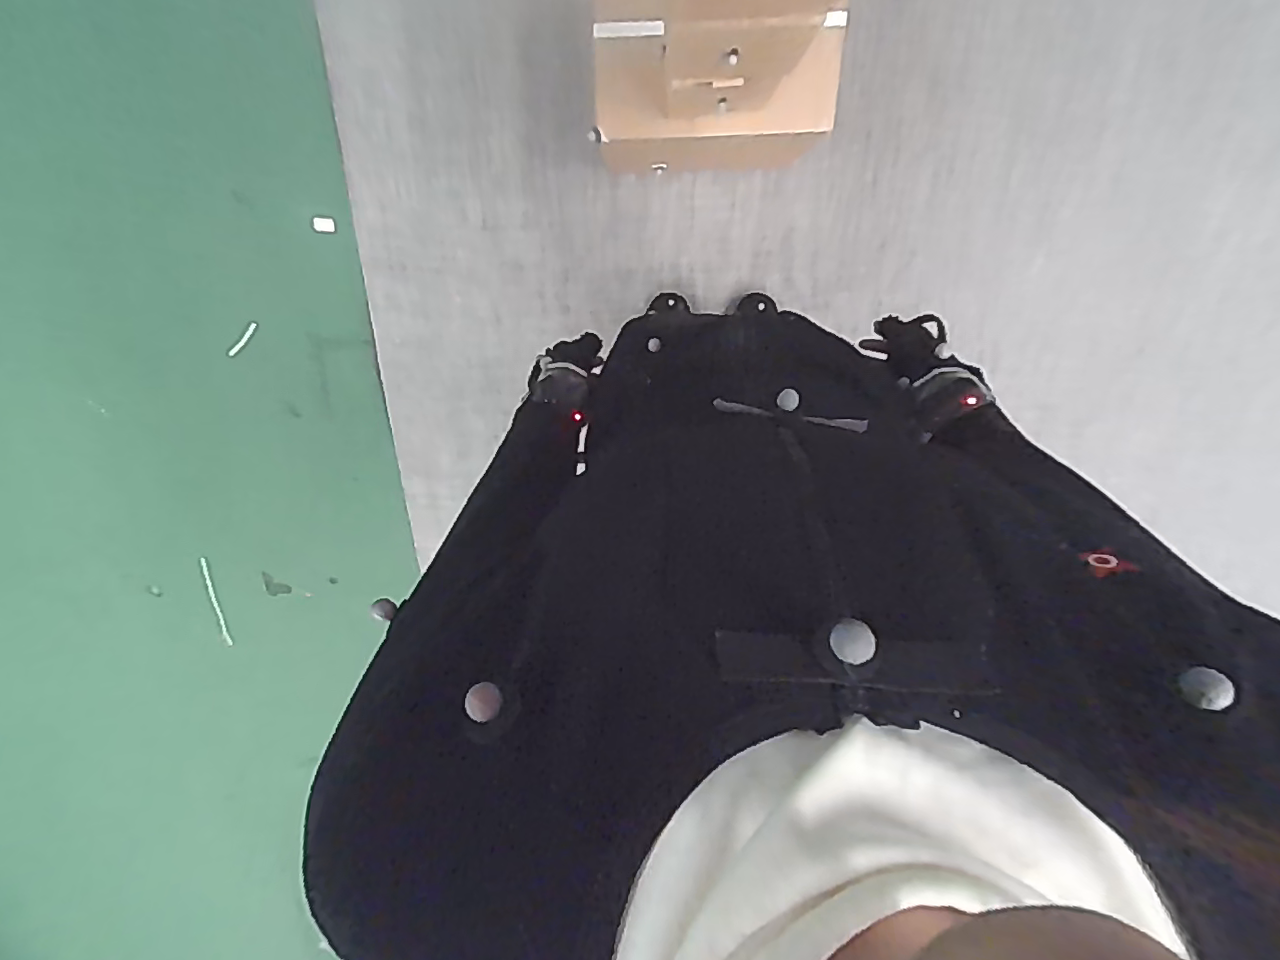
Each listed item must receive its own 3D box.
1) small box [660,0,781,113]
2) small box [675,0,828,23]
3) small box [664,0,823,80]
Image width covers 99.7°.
[{"bbox_3d":[0.116,-0.671,0.808,0.168,0.176,0.179,-4,112,4],"label":"small box"},{"bbox_3d":[0.118,-0.559,0.501,0.179,0.176,0.168,-3,112,2],"label":"small box"},{"bbox_3d":[0.118,-0.611,0.654,0.179,0.176,0.168,-1,111,3],"label":"small box"}]
